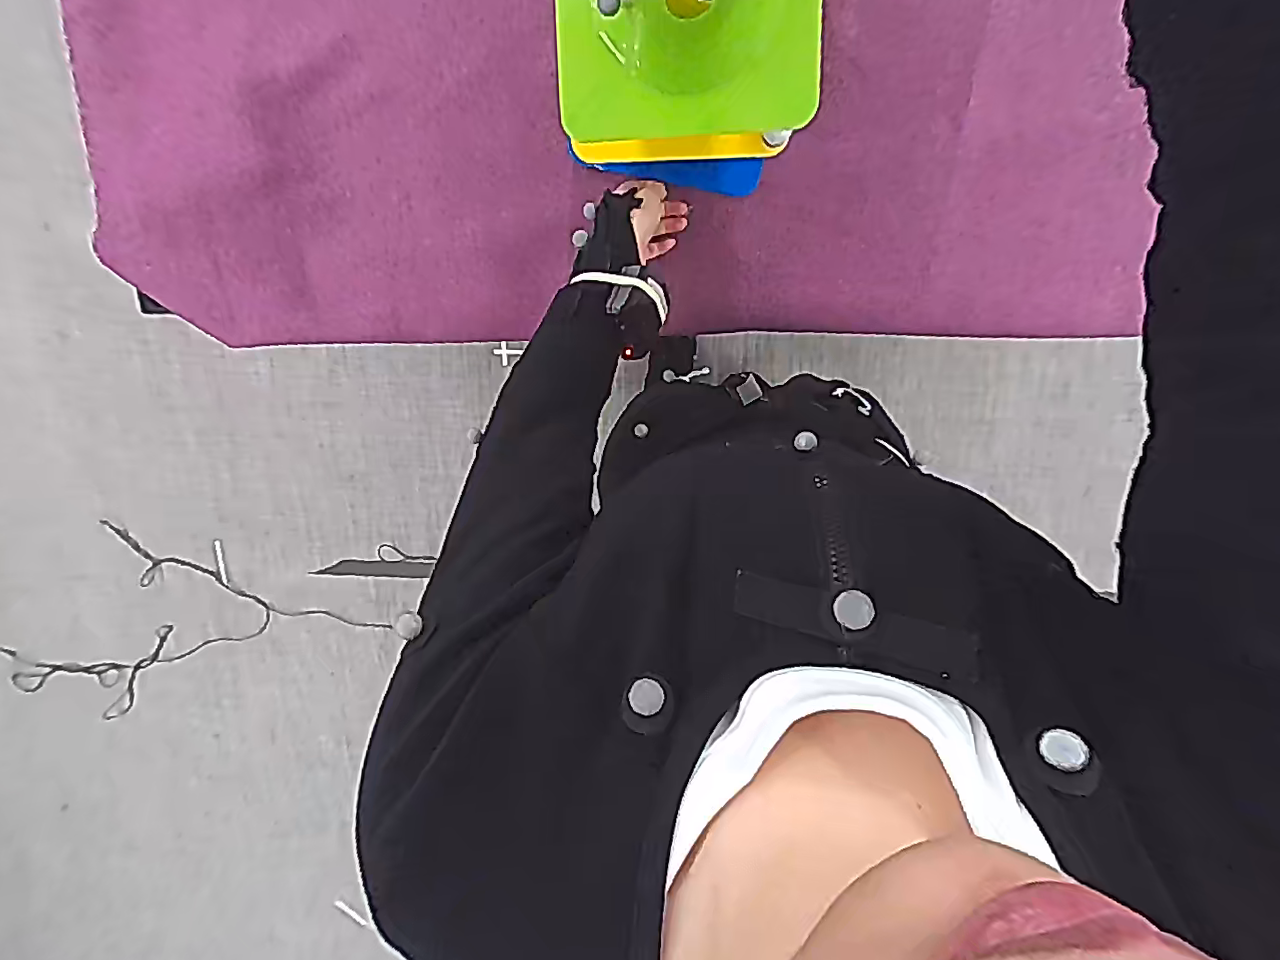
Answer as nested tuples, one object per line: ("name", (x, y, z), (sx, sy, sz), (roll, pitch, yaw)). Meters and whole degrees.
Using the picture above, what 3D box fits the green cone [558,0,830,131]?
("green cone", (0.021, -0.335, 0.226), (0.200, 0.368, 0.202), (-1, 102, 6))
